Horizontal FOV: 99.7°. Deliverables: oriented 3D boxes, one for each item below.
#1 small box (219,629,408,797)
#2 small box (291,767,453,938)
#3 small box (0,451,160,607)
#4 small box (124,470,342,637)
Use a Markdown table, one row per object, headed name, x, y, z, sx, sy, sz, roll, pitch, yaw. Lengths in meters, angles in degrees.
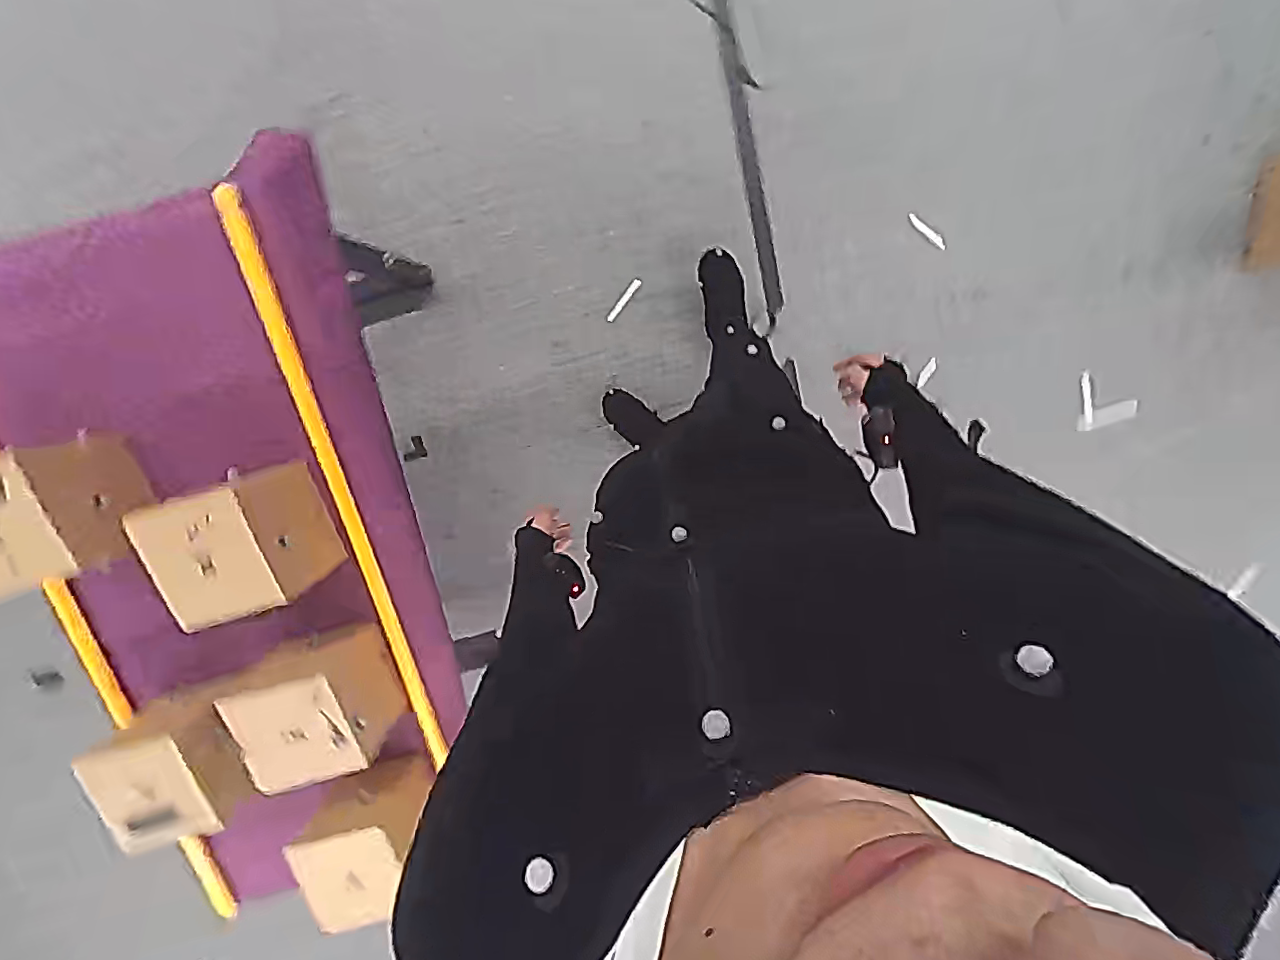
| name | x | y | z | sx | sy | sz | roll | pitch | yaw |
| --- | --- | --- | --- | --- | --- | --- | --- | --- | --- |
| small box | -0.518 | 0.371 | 0.884 | 0.179 | 0.176 | 0.168 | -15 | 104 | 3 |
| small box | -0.455 | 0.636 | 0.948 | 0.168 | 0.176 | 0.179 | -17 | 102 | 4 |
| small box | -0.872 | 0.064 | 0.805 | 0.168 | 0.176 | 0.179 | -18 | 104 | 3 |
| small box | -0.593 | 0.103 | 0.818 | 0.168 | 0.176 | 0.179 | -16 | 103 | 5 |
